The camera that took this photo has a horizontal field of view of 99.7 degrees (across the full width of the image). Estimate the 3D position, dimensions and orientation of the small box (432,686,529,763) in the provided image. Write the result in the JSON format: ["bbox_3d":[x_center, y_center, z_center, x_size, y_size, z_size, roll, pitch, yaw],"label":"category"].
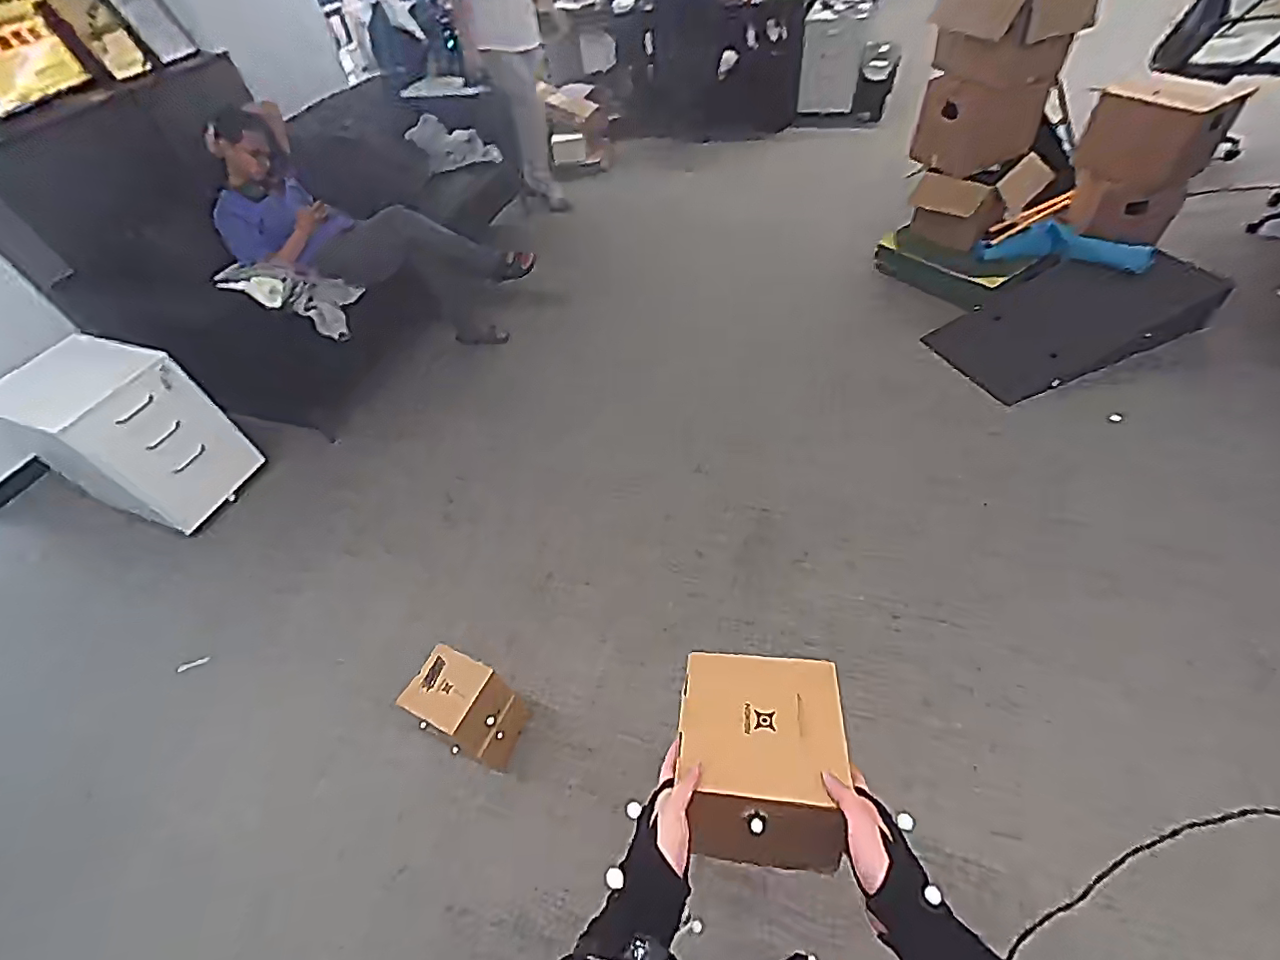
[{"bbox_3d":[-0.430,0.637,1.466,0.179,0.176,0.168,16,53,21],"label":"small box"}]

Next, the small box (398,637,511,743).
[{"bbox_3d":[-0.454,0.526,1.346,0.179,0.176,0.168,18,54,21],"label":"small box"}]

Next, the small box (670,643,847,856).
[{"bbox_3d":[0.135,0.318,0.645,0.179,0.176,0.168,1,36,9],"label":"small box"}]
